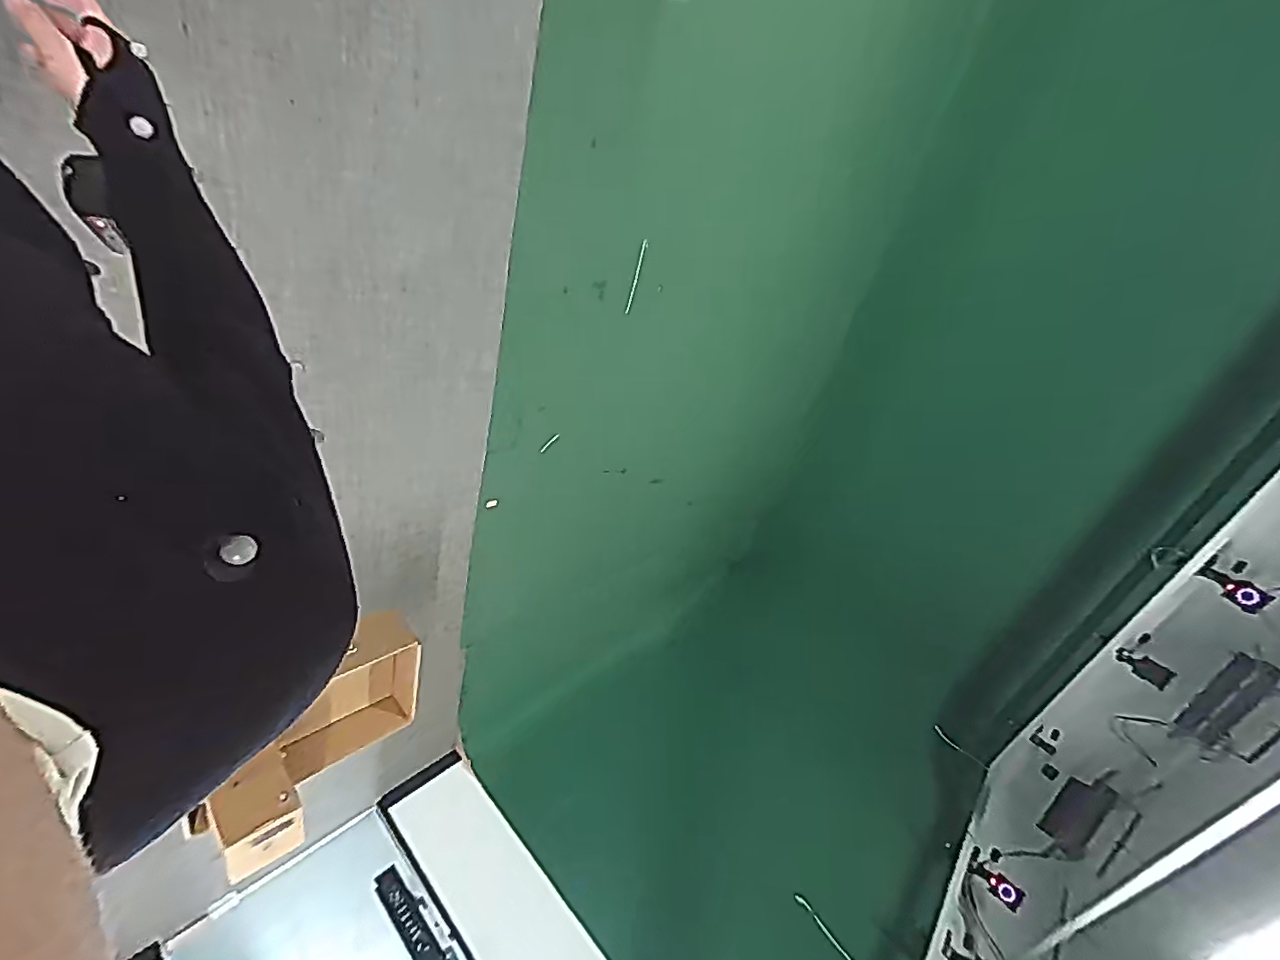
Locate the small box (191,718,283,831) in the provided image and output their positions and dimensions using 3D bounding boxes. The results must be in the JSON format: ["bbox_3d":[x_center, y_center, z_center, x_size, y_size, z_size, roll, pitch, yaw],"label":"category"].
[{"bbox_3d":[-1.097,0.795,1.476,0.168,0.176,0.179,-15,131,-46],"label":"small box"}]
